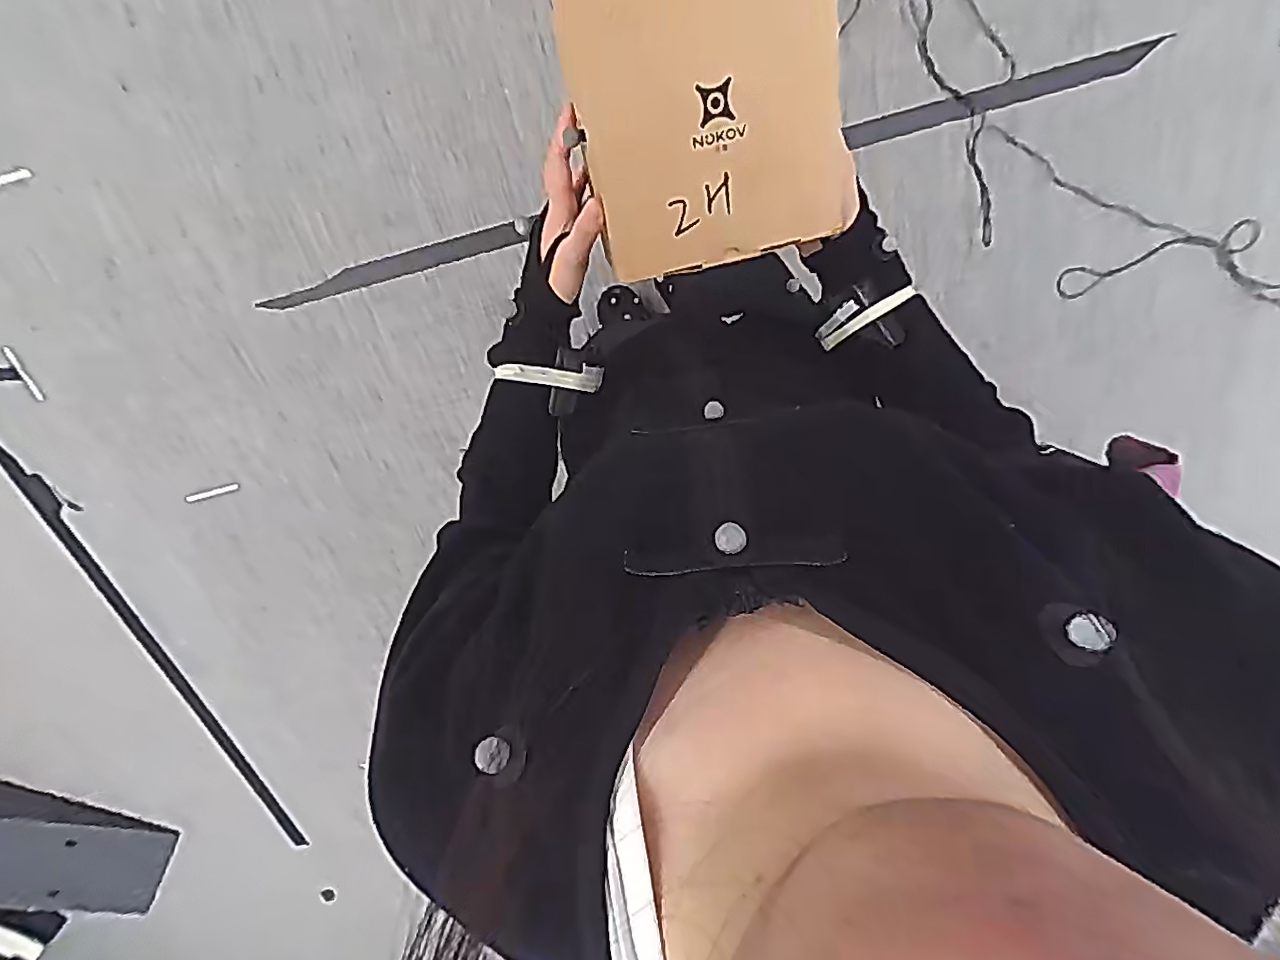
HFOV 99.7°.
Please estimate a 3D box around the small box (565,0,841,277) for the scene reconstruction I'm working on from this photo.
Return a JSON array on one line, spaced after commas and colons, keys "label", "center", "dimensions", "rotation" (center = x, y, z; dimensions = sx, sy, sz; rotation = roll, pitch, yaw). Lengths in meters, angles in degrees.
[{"label": "small box", "center": [0.040, -0.273, 0.419], "dimensions": [0.168, 0.176, 0.179], "rotation": [-13, 119, 0]}]
